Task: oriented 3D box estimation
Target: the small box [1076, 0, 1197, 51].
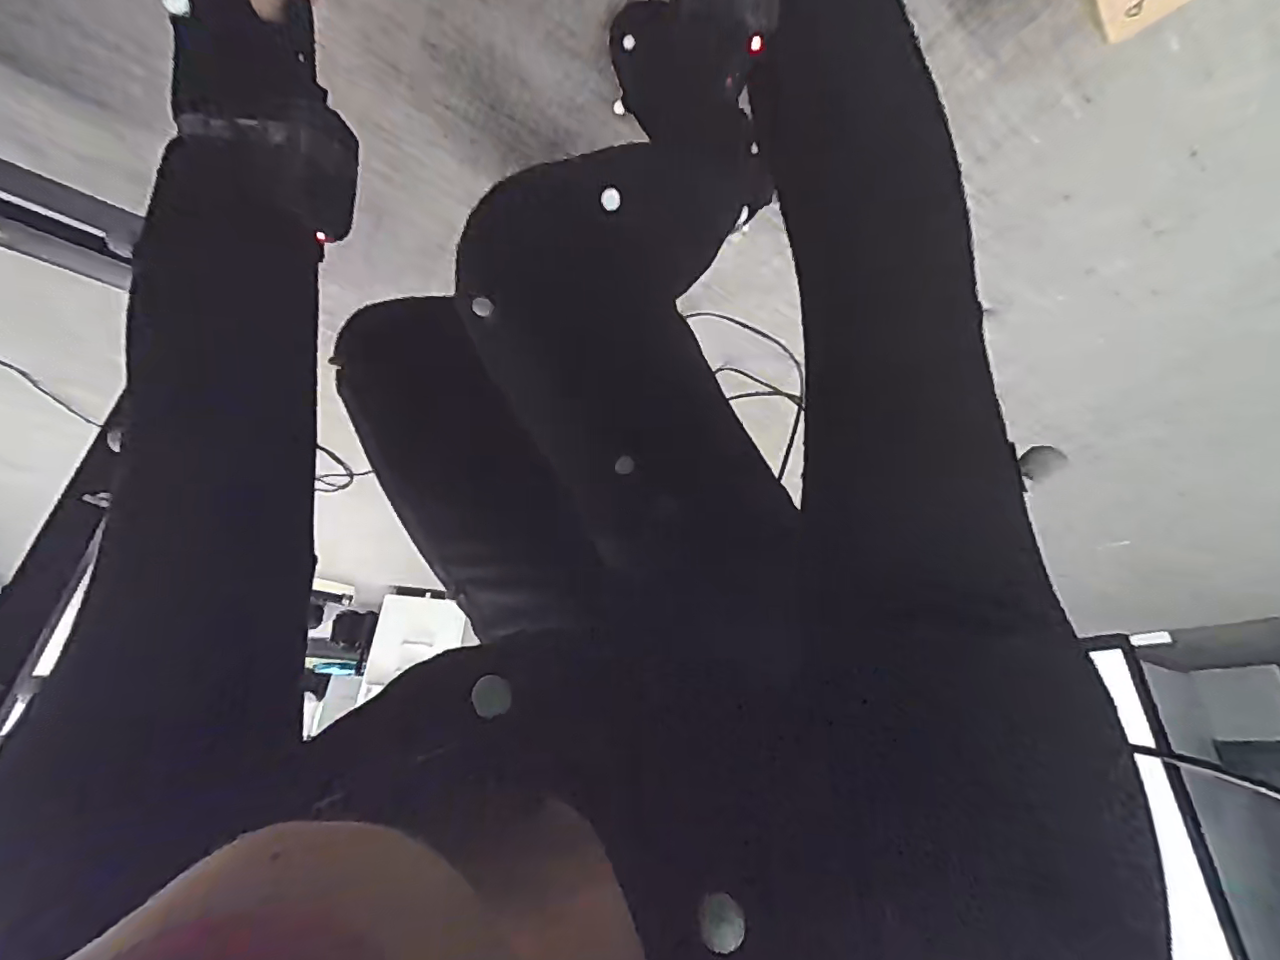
[{"bbox_3d":[0.399,-0.482,0.383,0.168,0.176,0.179,25,146,-37],"label":"small box"}]
